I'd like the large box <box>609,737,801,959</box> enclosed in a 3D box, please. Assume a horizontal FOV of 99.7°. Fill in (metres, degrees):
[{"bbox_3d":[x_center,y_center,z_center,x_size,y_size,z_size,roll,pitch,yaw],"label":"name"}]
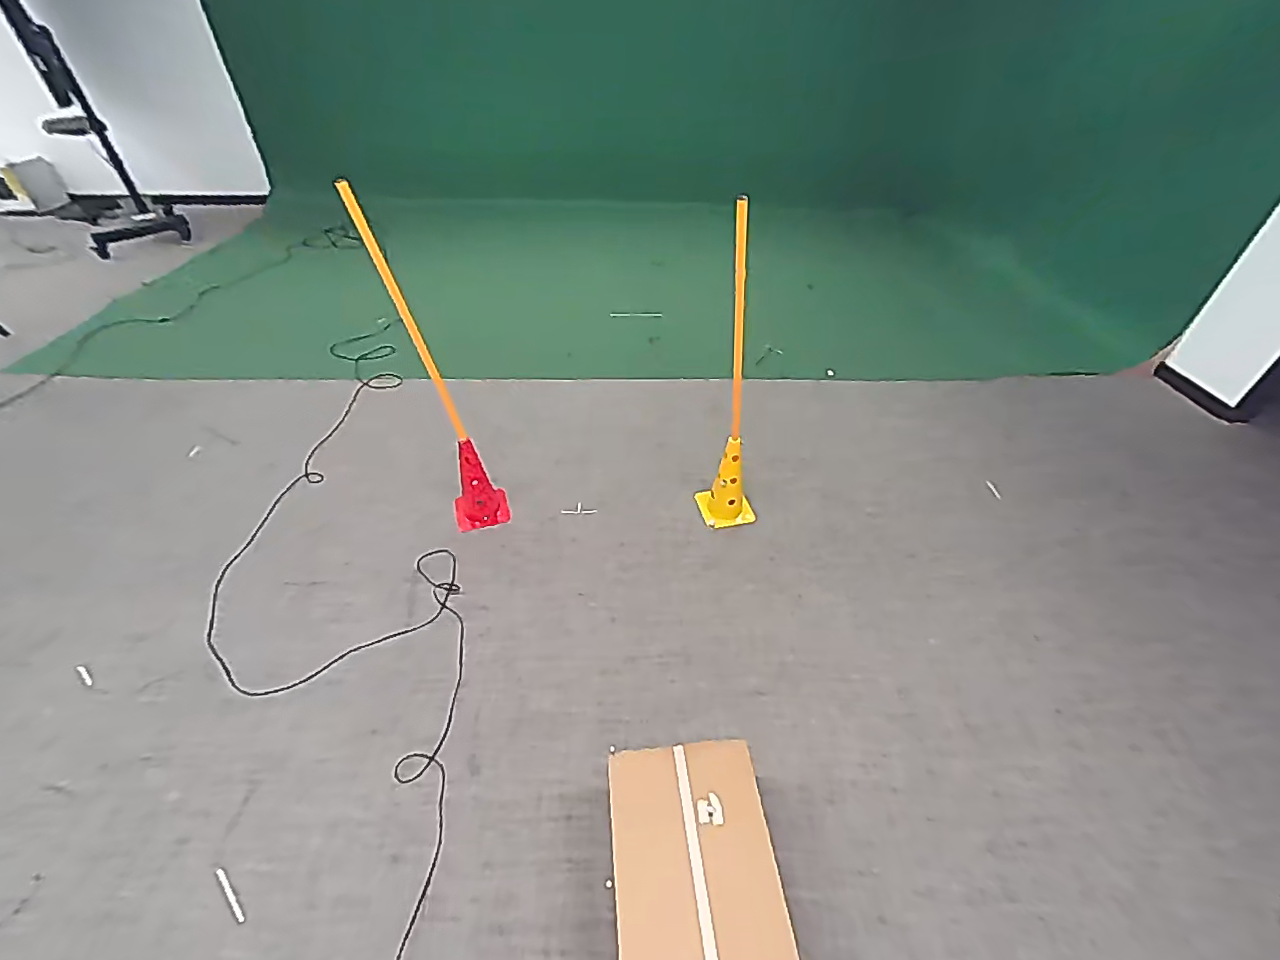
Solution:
[{"bbox_3d":[0.106,0.831,1.154,0.320,0.320,0.408,-3,40,-5],"label":"large box"}]
